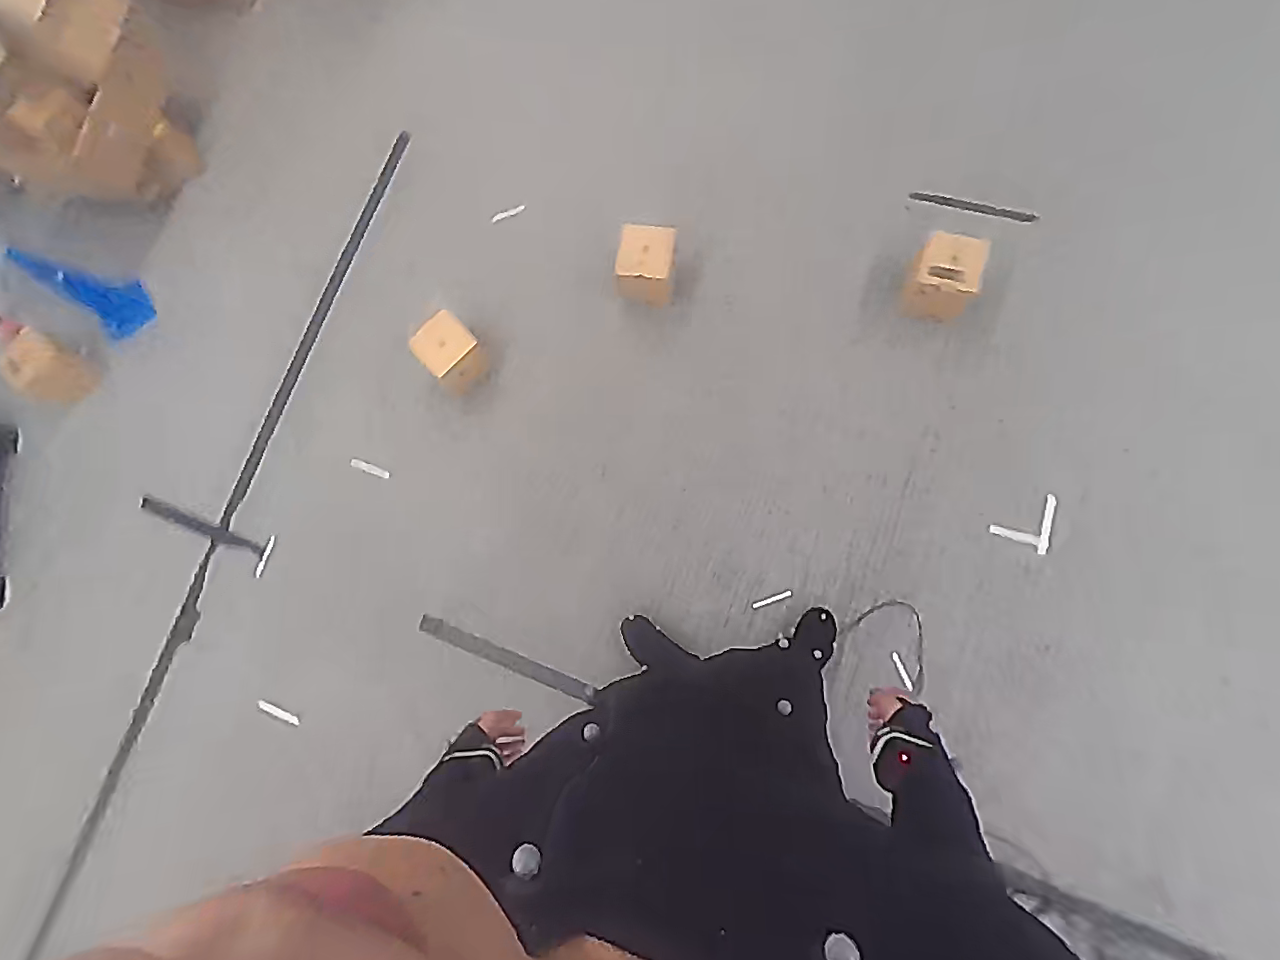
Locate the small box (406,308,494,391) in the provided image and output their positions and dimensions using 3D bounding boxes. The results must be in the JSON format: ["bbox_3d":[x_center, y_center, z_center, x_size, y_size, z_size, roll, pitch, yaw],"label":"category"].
[{"bbox_3d":[-0.604,-0.411,1.748,0.168,0.176,0.179,-45,78,-3],"label":"small box"}]

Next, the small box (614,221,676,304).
[{"bbox_3d":[0.021,-0.690,1.726,0.168,0.176,0.179,8,81,8],"label":"small box"}]
